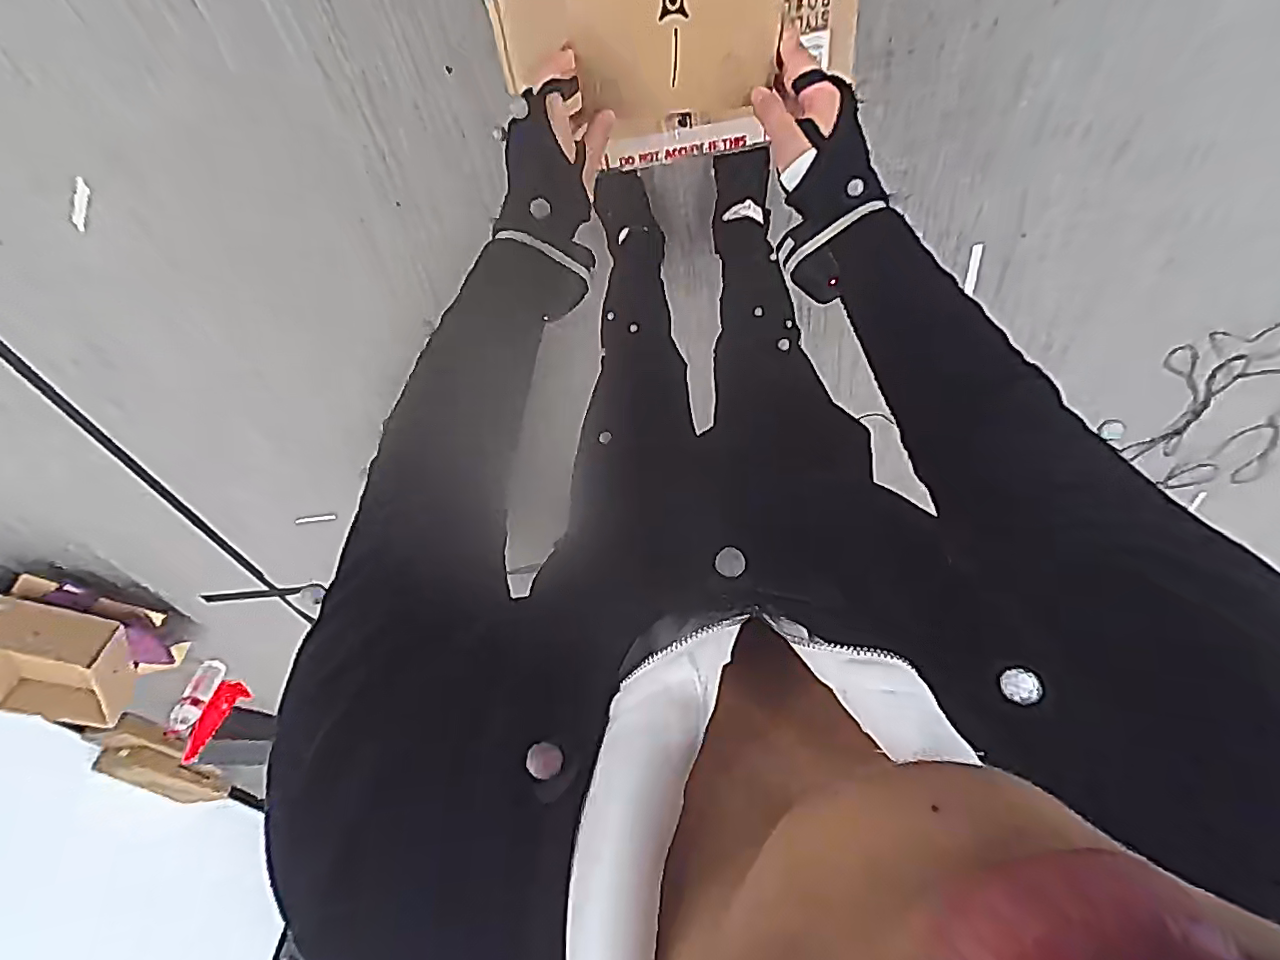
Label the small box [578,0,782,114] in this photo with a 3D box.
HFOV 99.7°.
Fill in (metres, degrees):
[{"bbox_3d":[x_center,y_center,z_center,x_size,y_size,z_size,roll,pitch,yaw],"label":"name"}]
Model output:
[{"bbox_3d":[0.032,-0.446,0.482,0.168,0.176,0.179,-2,130,5],"label":"small box"}]
